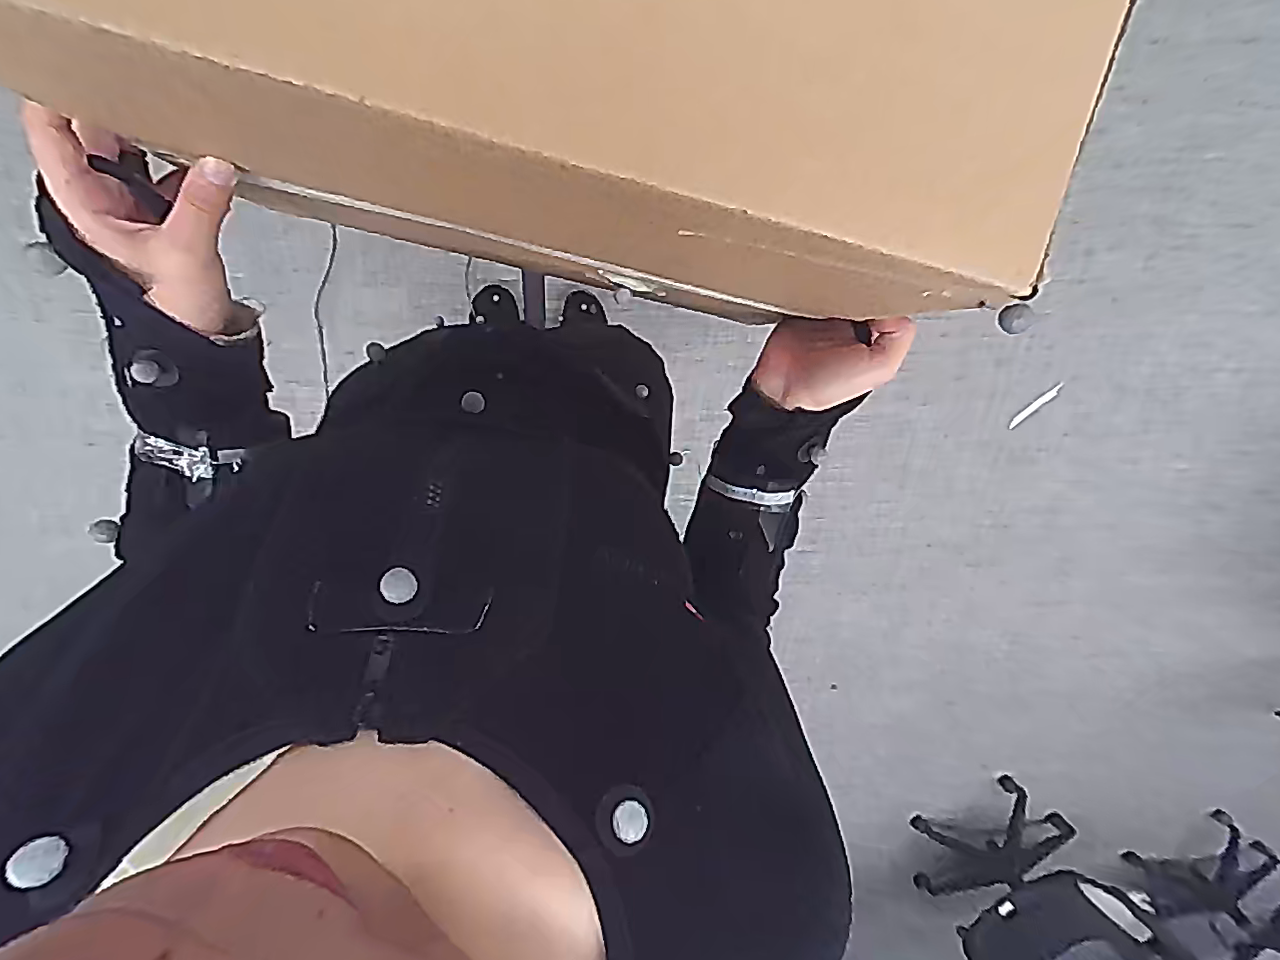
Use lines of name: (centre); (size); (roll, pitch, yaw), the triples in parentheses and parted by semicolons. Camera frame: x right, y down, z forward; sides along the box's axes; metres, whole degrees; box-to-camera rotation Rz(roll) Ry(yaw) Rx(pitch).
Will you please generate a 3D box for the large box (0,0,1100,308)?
large box: (-0.045, -0.292, 0.276); (0.408, 0.320, 0.320); (8, 105, -12)
